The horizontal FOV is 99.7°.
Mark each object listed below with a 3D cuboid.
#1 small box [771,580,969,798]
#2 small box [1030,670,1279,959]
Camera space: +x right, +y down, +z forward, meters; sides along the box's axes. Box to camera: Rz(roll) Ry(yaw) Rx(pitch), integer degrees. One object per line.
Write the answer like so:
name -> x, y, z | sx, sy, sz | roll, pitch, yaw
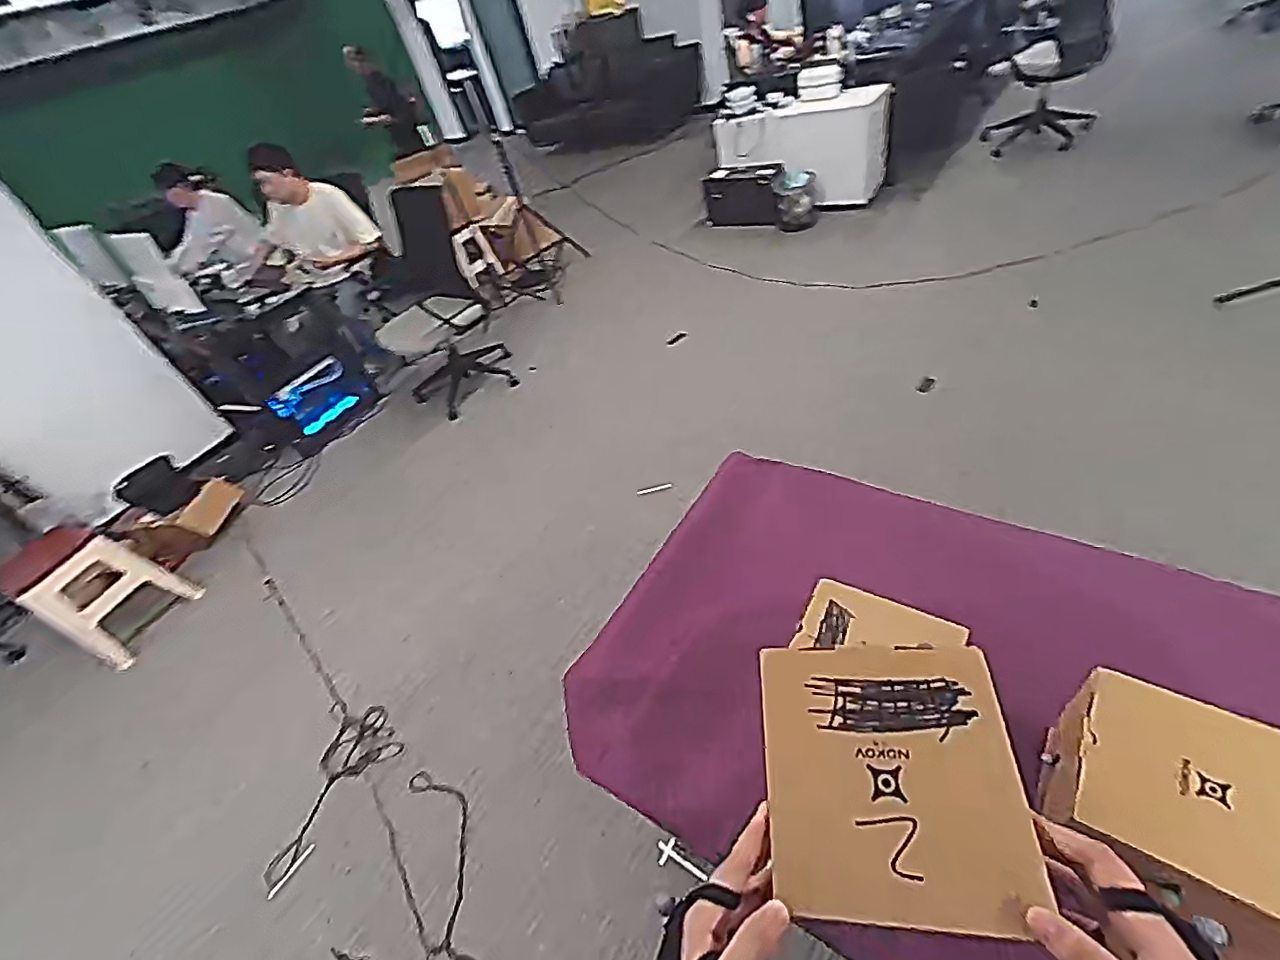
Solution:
small box -> 0.283, 0.261, 0.679 | 0.179, 0.176, 0.168 | 17, 54, 32
small box -> 0.518, 0.326, 0.529 | 0.179, 0.176, 0.168 | 17, 53, 34
